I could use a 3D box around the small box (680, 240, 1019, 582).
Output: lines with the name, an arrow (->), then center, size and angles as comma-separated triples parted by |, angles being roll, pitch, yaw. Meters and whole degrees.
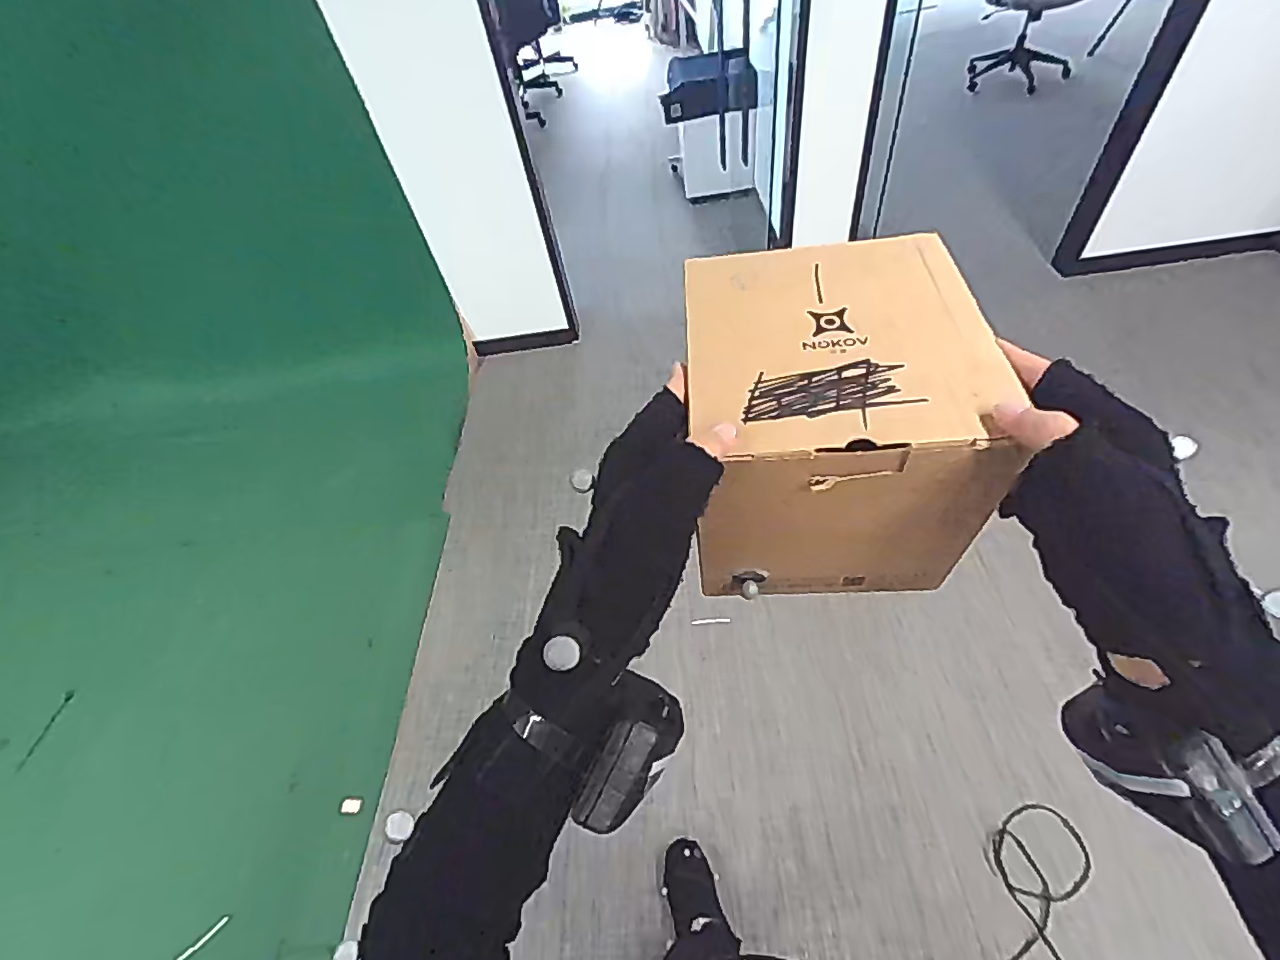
small box -> 0.118, -0.037, 0.381 | 0.168, 0.176, 0.179 | -3, 53, 8
